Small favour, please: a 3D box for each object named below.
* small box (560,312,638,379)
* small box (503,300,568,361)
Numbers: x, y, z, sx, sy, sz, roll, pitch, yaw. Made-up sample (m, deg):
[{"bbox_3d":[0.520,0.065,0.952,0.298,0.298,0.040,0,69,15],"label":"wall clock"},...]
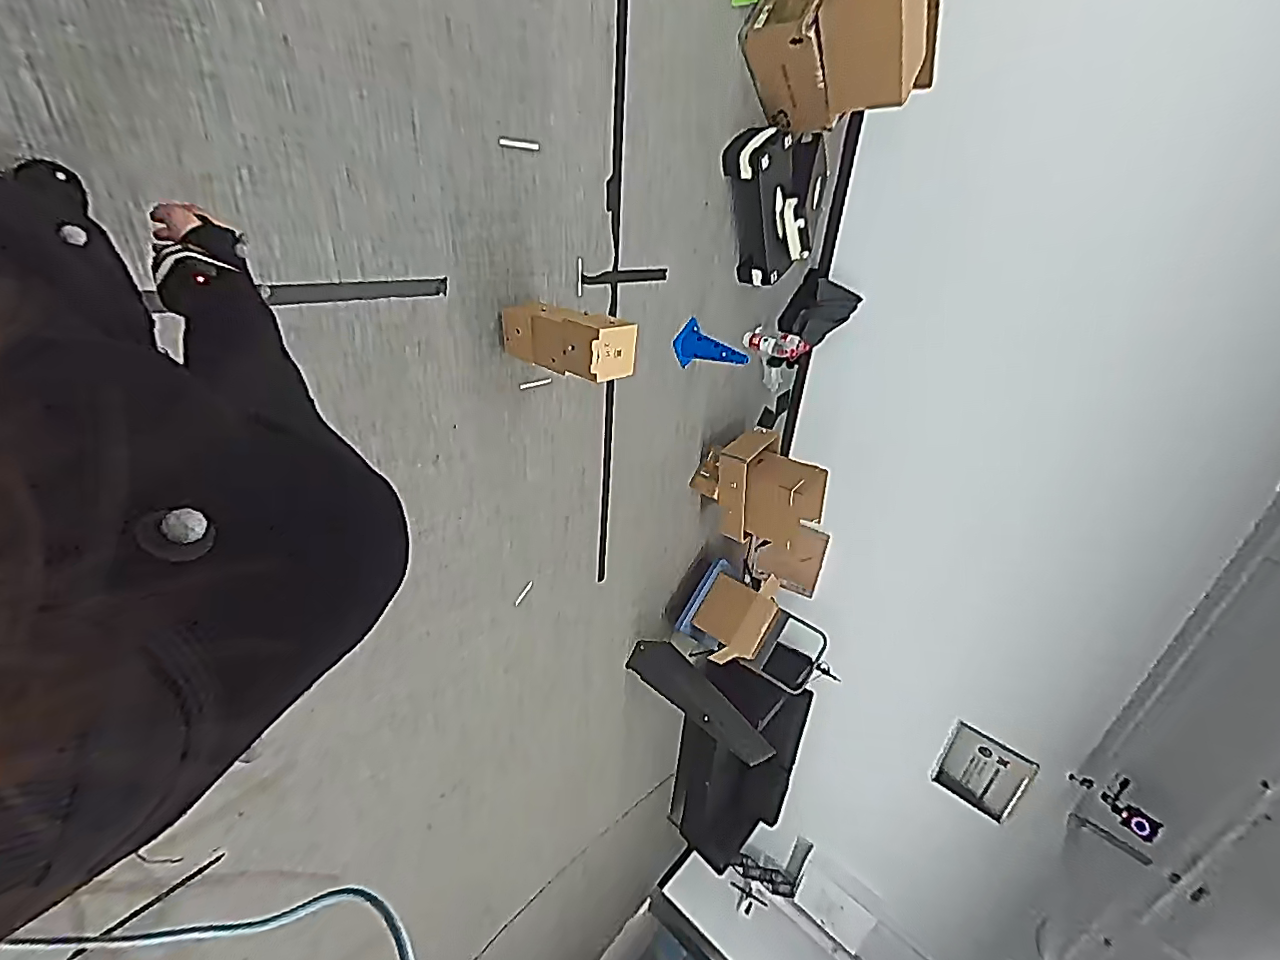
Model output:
[{"bbox_3d":[-0.130,-0.434,1.721,0.179,0.176,0.168,-23,129,-43],"label":"small box"},{"bbox_3d":[-0.372,-0.536,1.924,0.179,0.176,0.168,-29,133,-40],"label":"small box"}]
